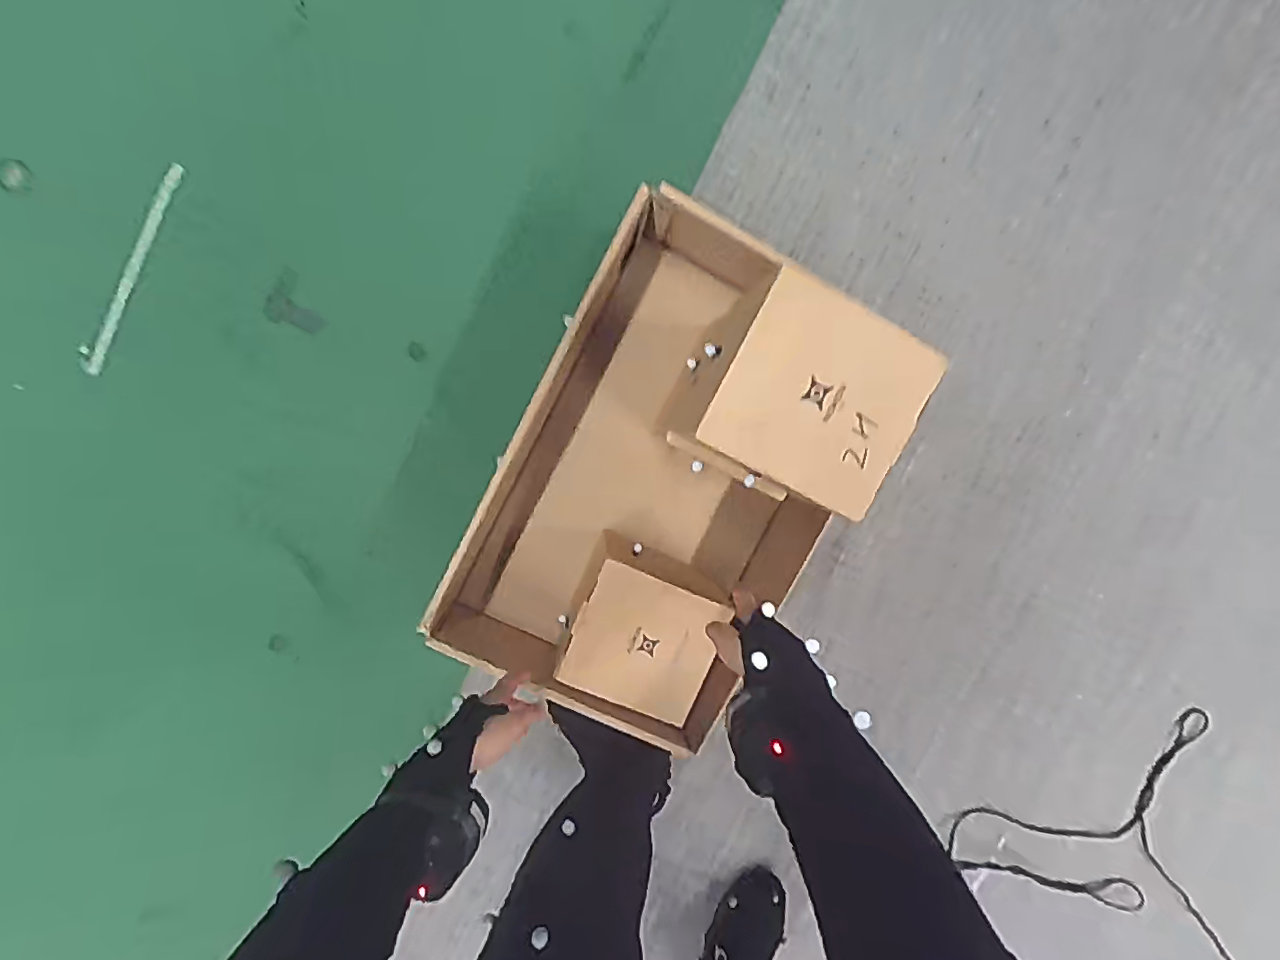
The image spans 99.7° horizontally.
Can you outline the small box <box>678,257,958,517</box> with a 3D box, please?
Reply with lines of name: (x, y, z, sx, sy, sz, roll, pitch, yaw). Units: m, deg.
small box: (0.154, -0.084, 0.536, 0.179, 0.176, 0.168, 27, 95, -8)
